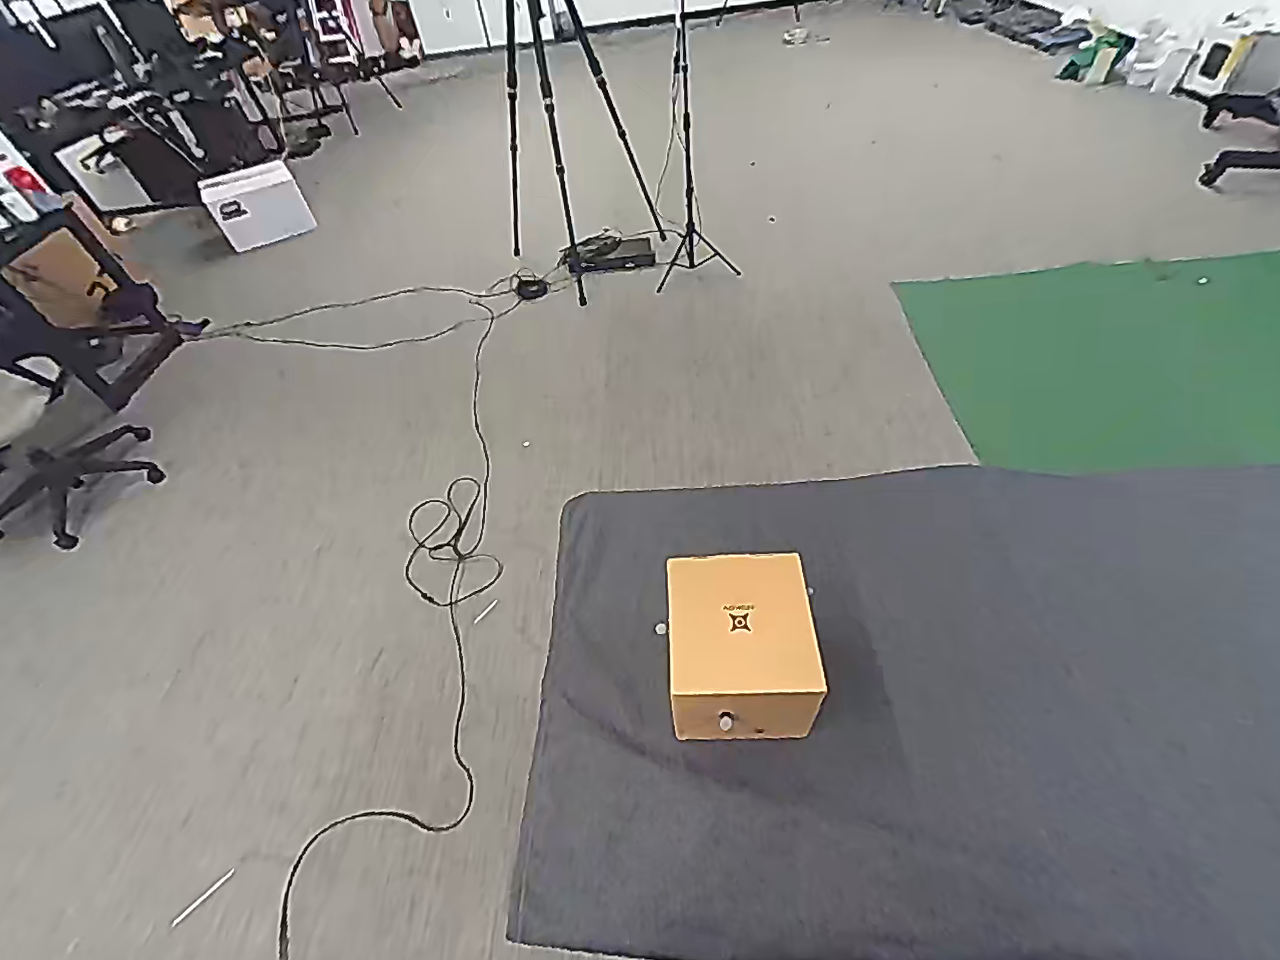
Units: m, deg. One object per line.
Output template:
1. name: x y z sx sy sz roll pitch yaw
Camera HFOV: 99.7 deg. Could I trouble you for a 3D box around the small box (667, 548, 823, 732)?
1. small box: 0.122 0.207 0.683 0.168 0.176 0.179 -3 48 5
